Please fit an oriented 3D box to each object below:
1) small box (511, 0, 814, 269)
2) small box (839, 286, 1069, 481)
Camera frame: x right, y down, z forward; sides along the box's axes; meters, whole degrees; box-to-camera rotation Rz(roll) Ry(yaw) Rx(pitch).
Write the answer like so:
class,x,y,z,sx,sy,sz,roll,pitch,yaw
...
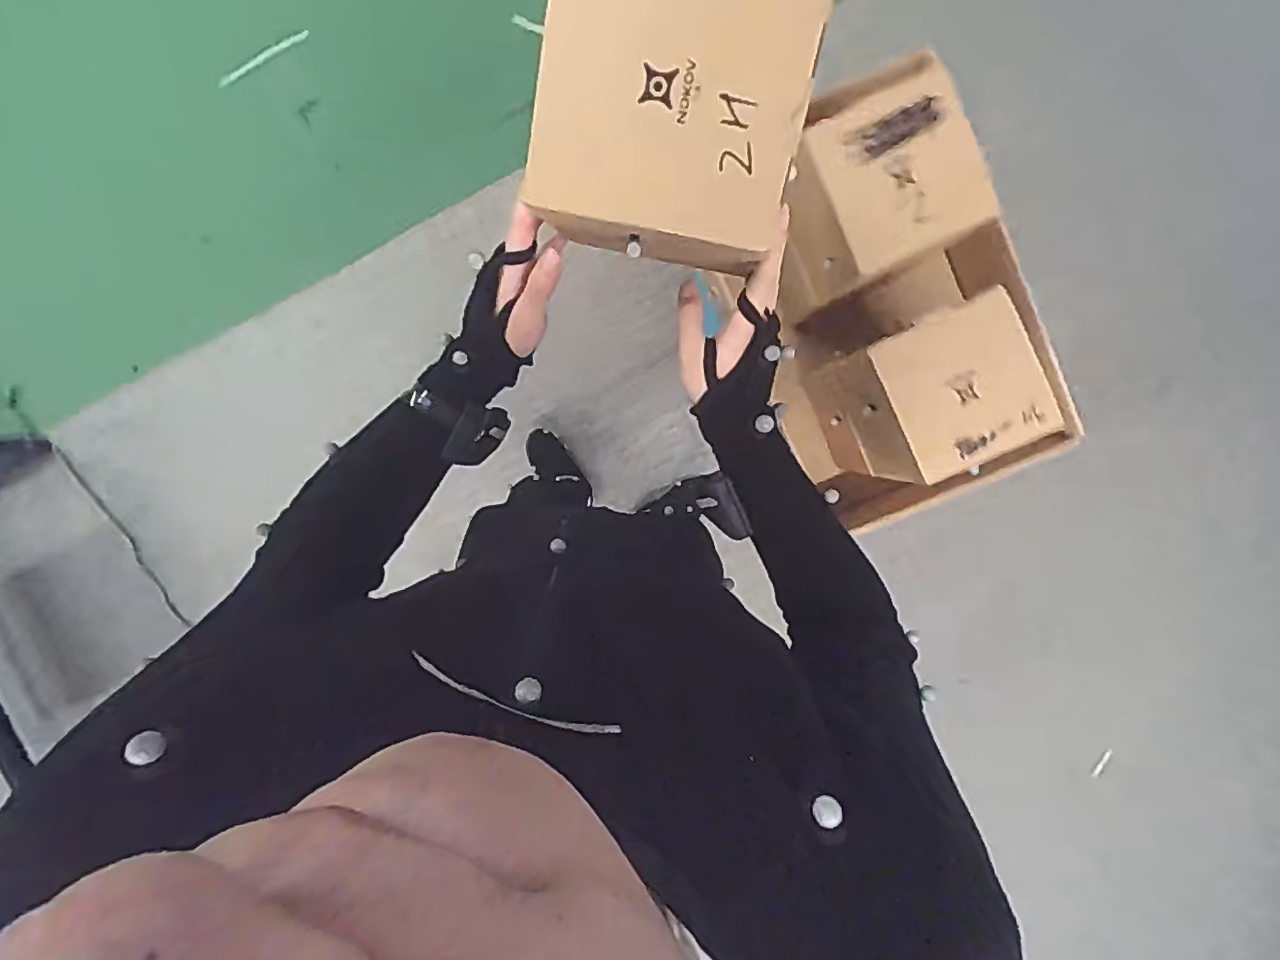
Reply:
class,x,y,z,sx,sy,sz,roll,pitch,yaw
small box,0.017,-0.273,0.427,0.179,0.176,0.168,12,106,2
small box,0.378,-0.110,0.688,0.168,0.176,0.179,-24,91,7
